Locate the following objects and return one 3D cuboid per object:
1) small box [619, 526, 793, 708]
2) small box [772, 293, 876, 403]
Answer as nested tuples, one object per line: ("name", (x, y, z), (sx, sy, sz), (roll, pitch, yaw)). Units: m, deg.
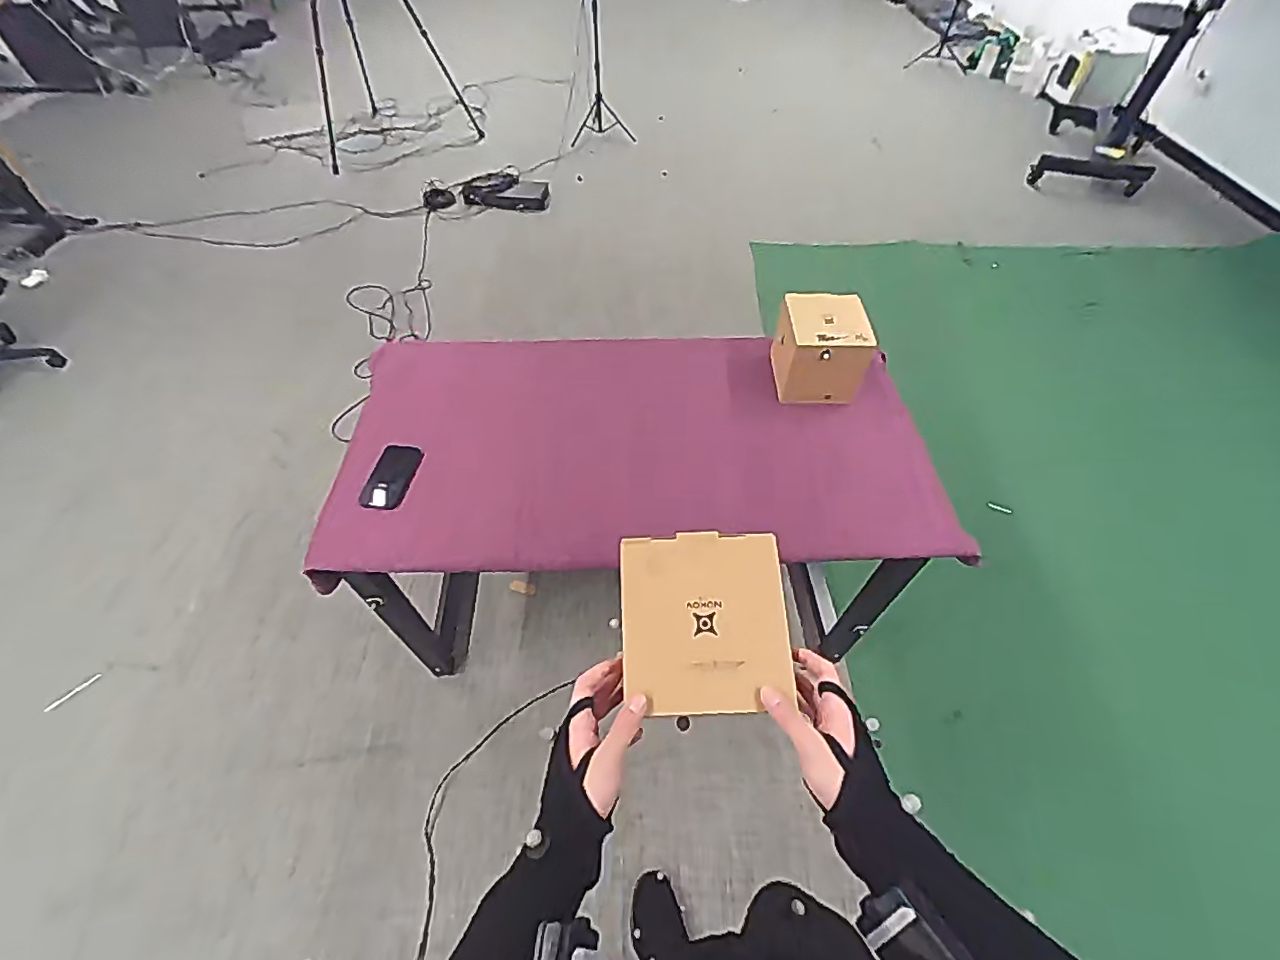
("small box", (0.059, 0.160, 0.608), (0.168, 0.176, 0.179), (-1, 68, 0))
("small box", (0.398, -0.293, 1.205), (0.168, 0.176, 0.179), (0, 53, 1))
